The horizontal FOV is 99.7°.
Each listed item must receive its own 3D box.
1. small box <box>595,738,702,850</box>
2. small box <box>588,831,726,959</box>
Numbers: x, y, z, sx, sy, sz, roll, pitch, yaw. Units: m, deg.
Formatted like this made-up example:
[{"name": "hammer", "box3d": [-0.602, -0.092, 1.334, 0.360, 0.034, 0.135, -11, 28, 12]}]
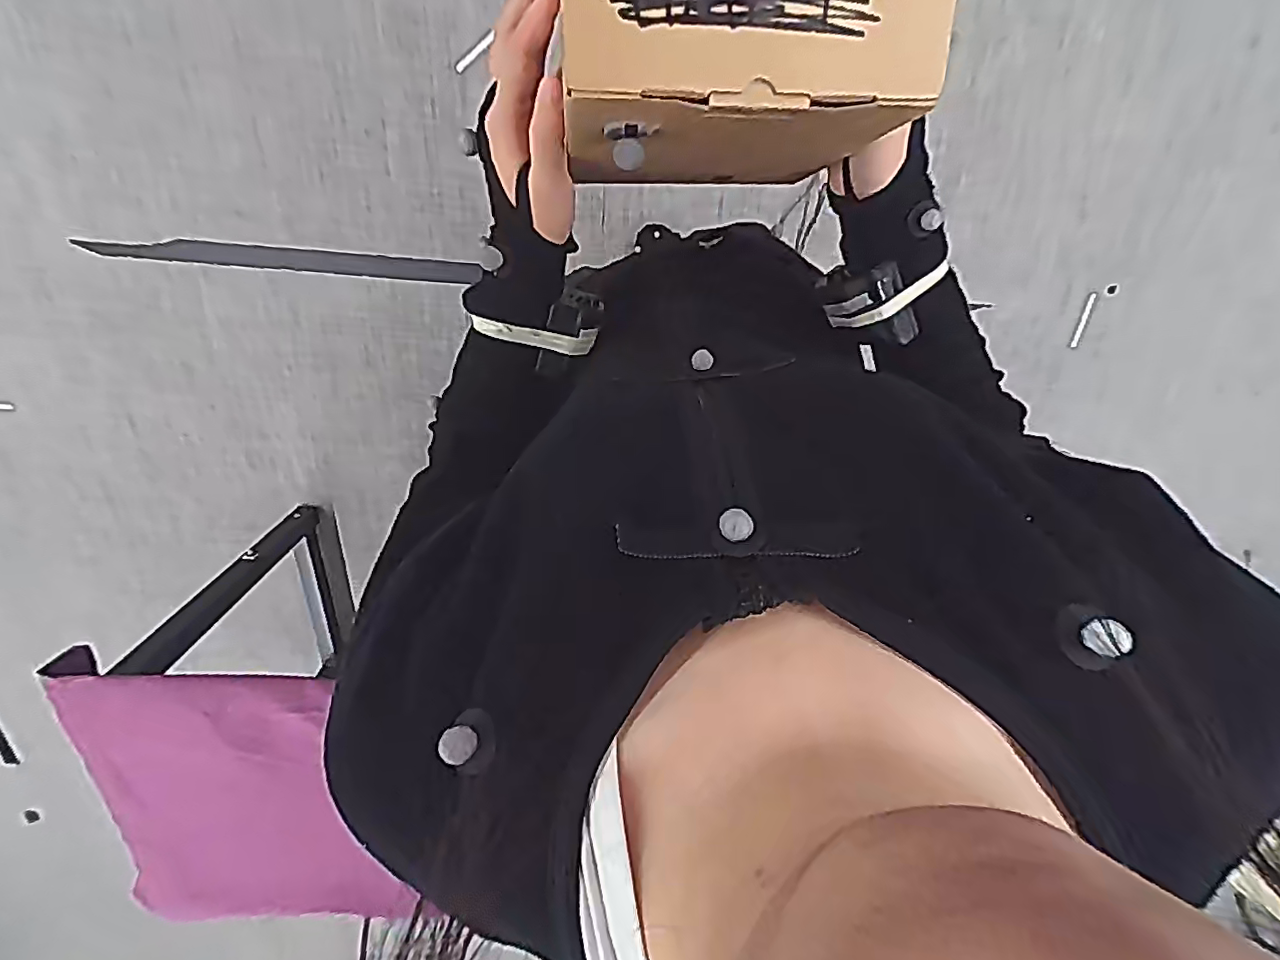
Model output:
[{"name": "small box", "box3d": [0.009, 0.574, 0.930, 0.168, 0.176, 0.179, 0, 115, -3]}, {"name": "small box", "box3d": [0.018, 0.643, 0.784, 0.179, 0.176, 0.168, -2, 116, -3]}]
